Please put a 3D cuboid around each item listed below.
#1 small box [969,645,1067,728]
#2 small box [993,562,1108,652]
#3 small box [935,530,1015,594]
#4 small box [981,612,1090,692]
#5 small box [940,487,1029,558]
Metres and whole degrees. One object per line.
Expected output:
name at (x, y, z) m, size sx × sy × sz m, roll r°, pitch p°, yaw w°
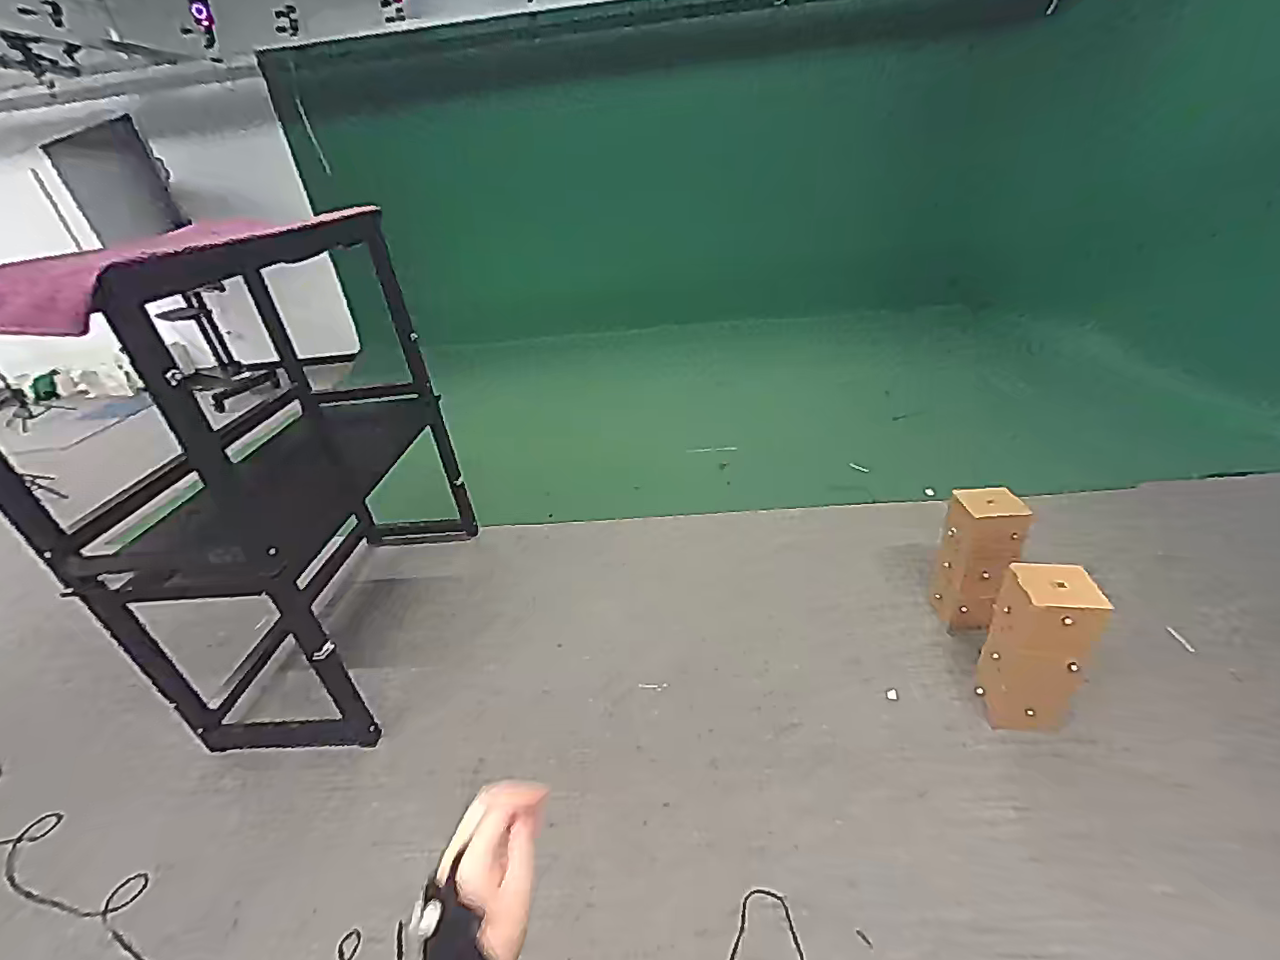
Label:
small box at (1.122, 0.620, 1.621) m, size 0.179 × 0.176 × 0.168 m, roll -1°, pitch 32°, yaw 11°
small box at (1.089, 0.342, 1.452) m, size 0.179 × 0.176 × 0.168 m, roll 0°, pitch 32°, yaw 11°
small box at (1.140, 0.277, 1.859) m, size 0.179 × 0.176 × 0.168 m, roll -5°, pitch 31°, yaw 3°
small box at (1.109, 0.481, 1.533) m, size 0.179 × 0.176 × 0.168 m, roll -1°, pitch 31°, yaw 9°
small box at (1.120, 0.141, 1.773) m, size 0.179 × 0.176 × 0.168 m, roll -5°, pitch 30°, yaw 4°
